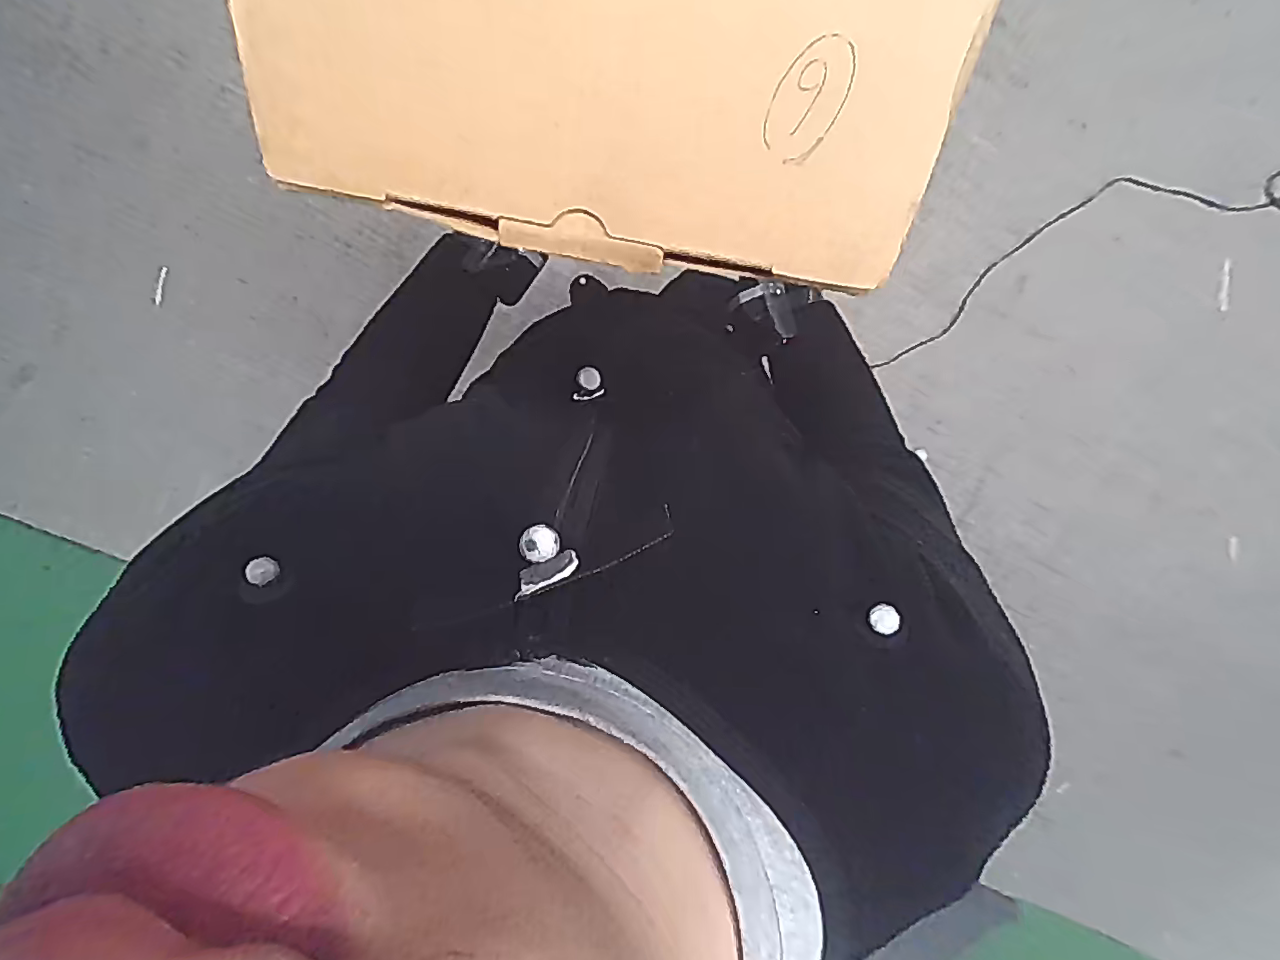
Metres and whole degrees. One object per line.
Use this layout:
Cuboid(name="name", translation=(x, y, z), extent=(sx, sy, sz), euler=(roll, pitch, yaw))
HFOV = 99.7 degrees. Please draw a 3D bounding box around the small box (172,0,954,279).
Cuboid(name="small box", translation=(-0.006, -0.181, 0.155), extent=(0.168, 0.176, 0.179), euler=(9, 124, -3))
